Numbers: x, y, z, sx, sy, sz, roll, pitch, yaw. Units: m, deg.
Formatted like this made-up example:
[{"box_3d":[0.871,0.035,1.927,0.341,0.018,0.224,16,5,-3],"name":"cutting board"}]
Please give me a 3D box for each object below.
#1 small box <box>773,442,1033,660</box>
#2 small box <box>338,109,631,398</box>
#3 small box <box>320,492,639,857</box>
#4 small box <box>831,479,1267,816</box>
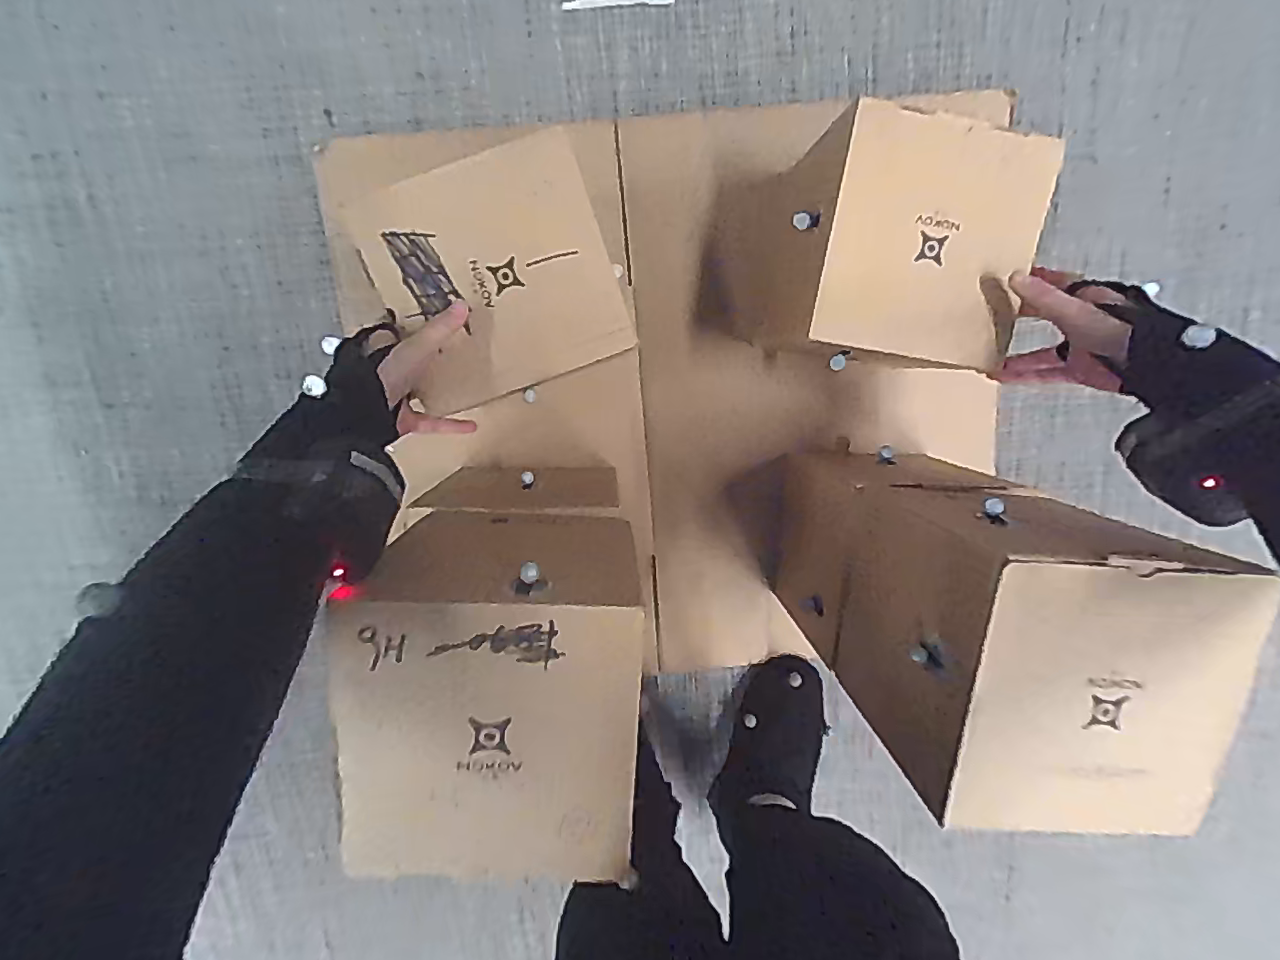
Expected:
[{"box_3d":[0.243,0.063,0.549,0.168,0.176,0.179,2,102,-4],"name":"small box"},{"box_3d":[-0.116,-0.178,0.479,0.179,0.176,0.168,-19,103,0],"name":"small box"},{"box_3d":[-0.092,0.117,0.375,0.168,0.176,0.179,3,103,-5],"name":"small box"},{"box_3d":[0.257,0.102,0.390,0.168,0.176,0.179,5,103,-4],"name":"small box"}]
